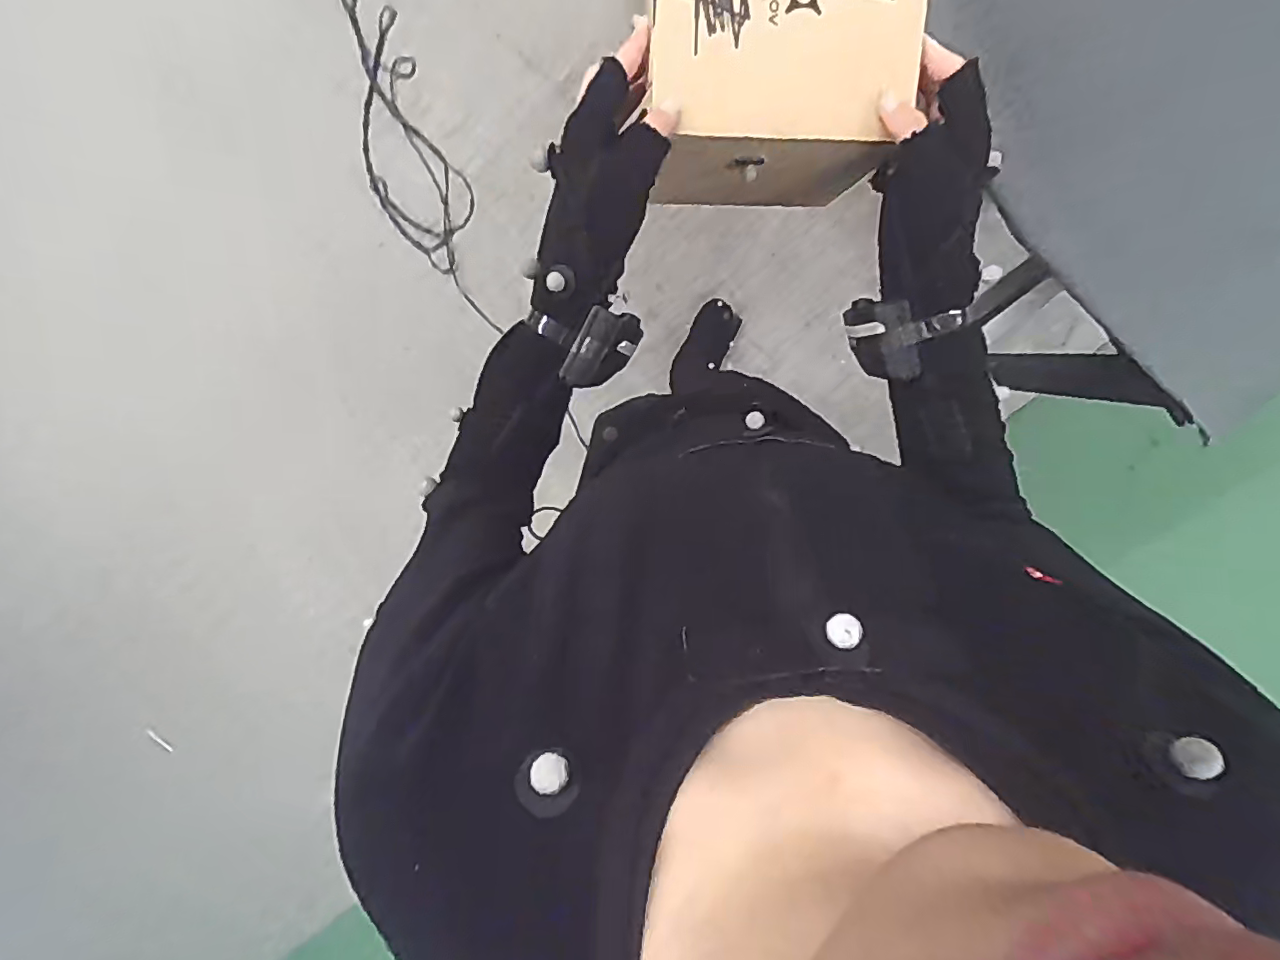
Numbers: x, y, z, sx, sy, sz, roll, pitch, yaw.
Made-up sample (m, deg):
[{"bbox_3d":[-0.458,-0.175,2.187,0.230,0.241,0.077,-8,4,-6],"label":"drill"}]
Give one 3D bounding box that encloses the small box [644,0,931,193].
[{"bbox_3d":[0.092,-0.328,0.406,0.179,0.176,0.168,1,104,-1],"label":"small box"}]
